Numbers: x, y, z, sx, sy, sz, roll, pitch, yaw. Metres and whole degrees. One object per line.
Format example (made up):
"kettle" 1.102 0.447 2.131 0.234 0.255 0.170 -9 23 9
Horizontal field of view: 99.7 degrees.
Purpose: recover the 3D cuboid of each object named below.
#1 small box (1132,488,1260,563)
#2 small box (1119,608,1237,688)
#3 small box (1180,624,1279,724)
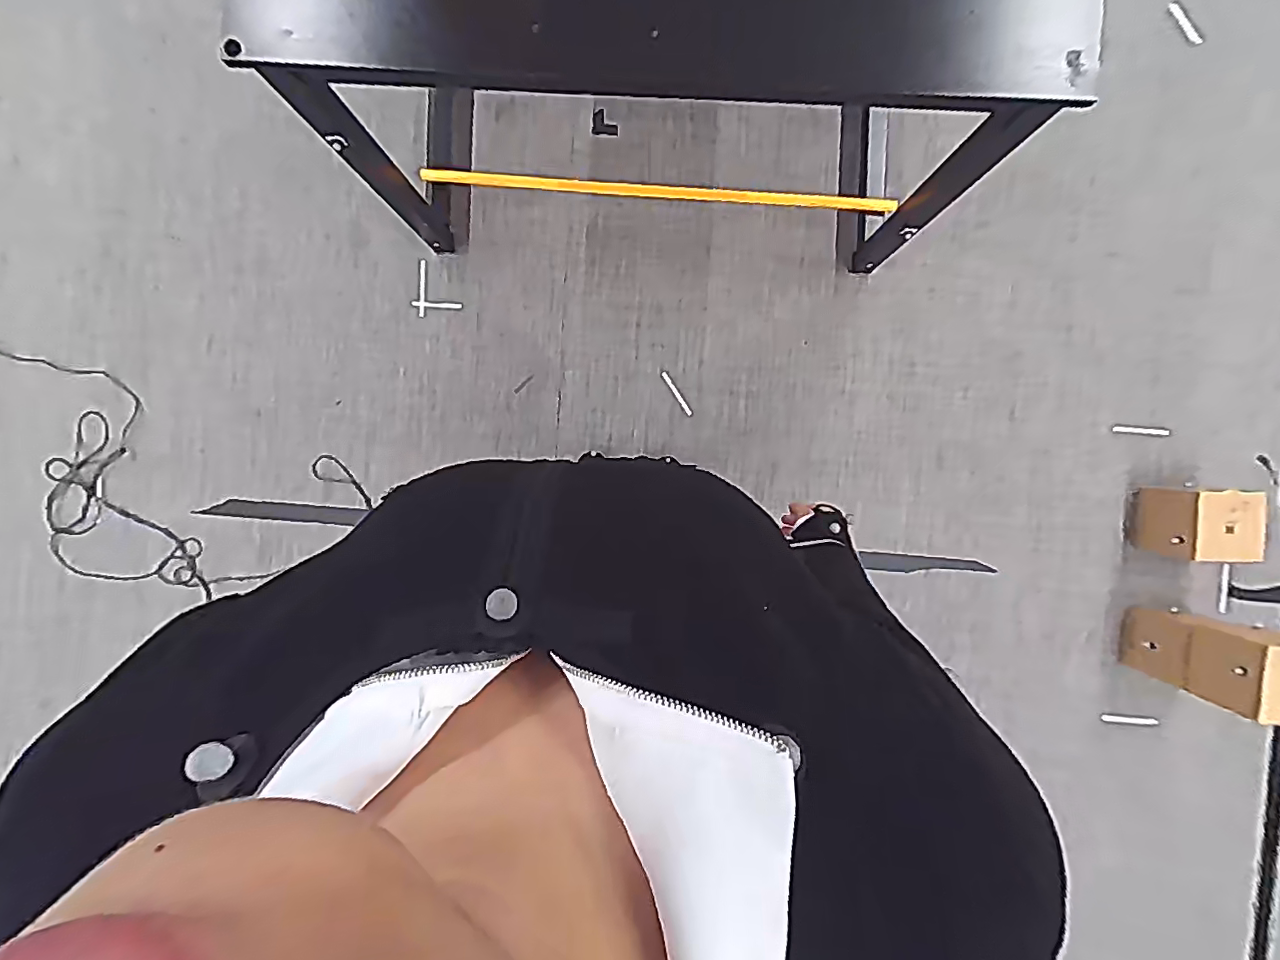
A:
"small box" 1.432 0.114 1.405 0.168 0.176 0.179 1 92 0
"small box" 1.418 0.441 1.420 0.179 0.176 0.168 5 92 1
"small box" 1.417 0.443 1.254 0.168 0.176 0.179 4 93 0
